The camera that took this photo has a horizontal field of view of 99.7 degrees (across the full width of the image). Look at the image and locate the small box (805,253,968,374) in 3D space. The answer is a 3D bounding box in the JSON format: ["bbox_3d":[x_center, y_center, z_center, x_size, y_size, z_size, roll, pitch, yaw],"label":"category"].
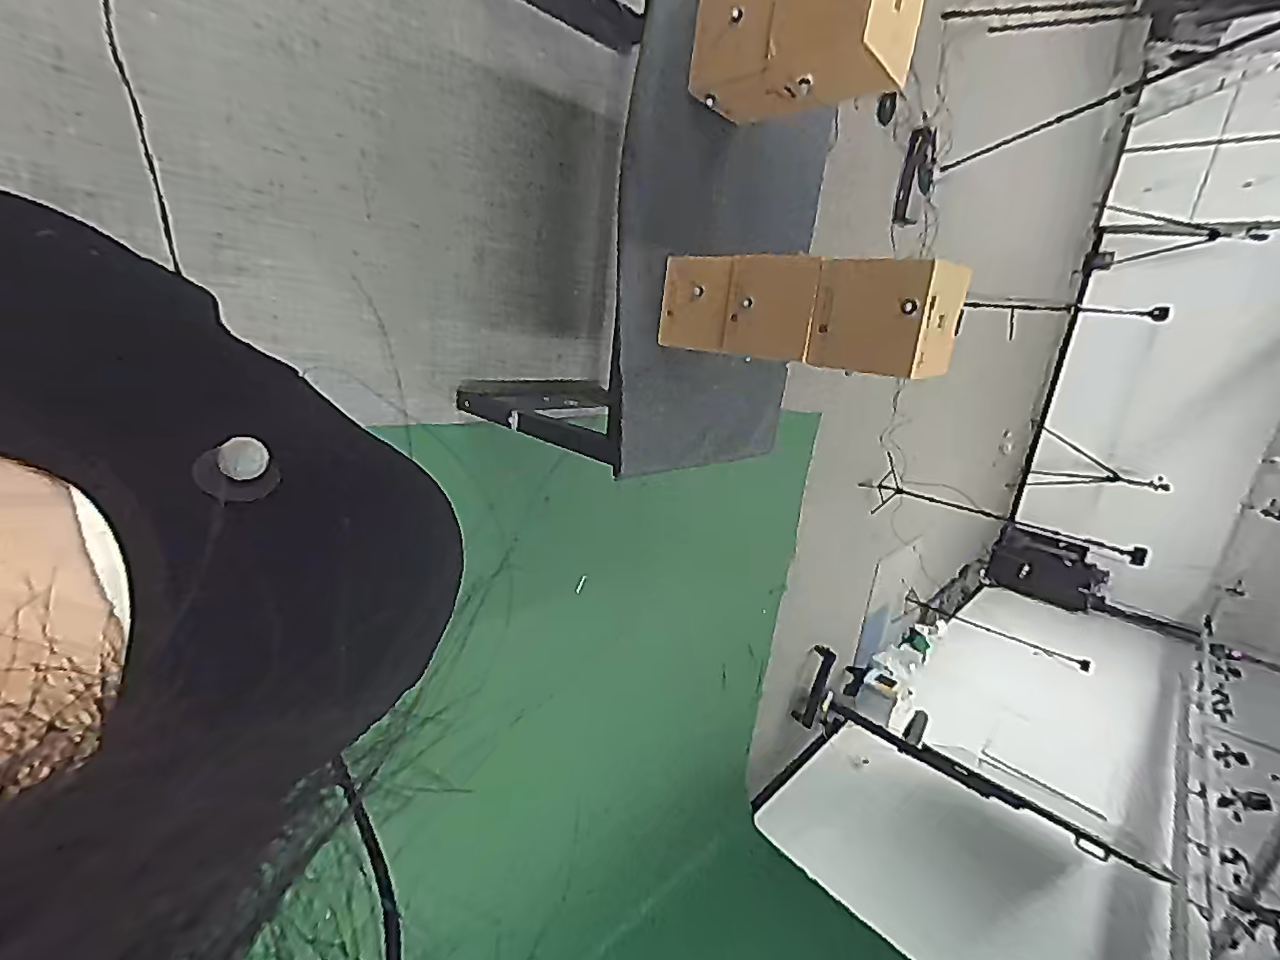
[{"bbox_3d":[0.388,-0.265,0.859,0.179,0.176,0.168,-15,116,-45],"label":"small box"}]

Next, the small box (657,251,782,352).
[{"bbox_3d":[0.153,-0.350,1.072,0.179,0.176,0.168,-11,113,-46],"label":"small box"}]

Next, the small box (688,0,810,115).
[{"bbox_3d":[0.203,-0.775,0.949,0.168,0.176,0.179,-9,112,-46],"label":"small box"}]

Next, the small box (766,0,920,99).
[{"bbox_3d":[0.316,-0.734,0.841,0.168,0.176,0.179,-7,112,-45],"label":"small box"}]

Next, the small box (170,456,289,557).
[{"bbox_3d":[-0.916,0.056,1.201,0.168,0.176,0.179,14,96,-48],"label":"small box"}]
